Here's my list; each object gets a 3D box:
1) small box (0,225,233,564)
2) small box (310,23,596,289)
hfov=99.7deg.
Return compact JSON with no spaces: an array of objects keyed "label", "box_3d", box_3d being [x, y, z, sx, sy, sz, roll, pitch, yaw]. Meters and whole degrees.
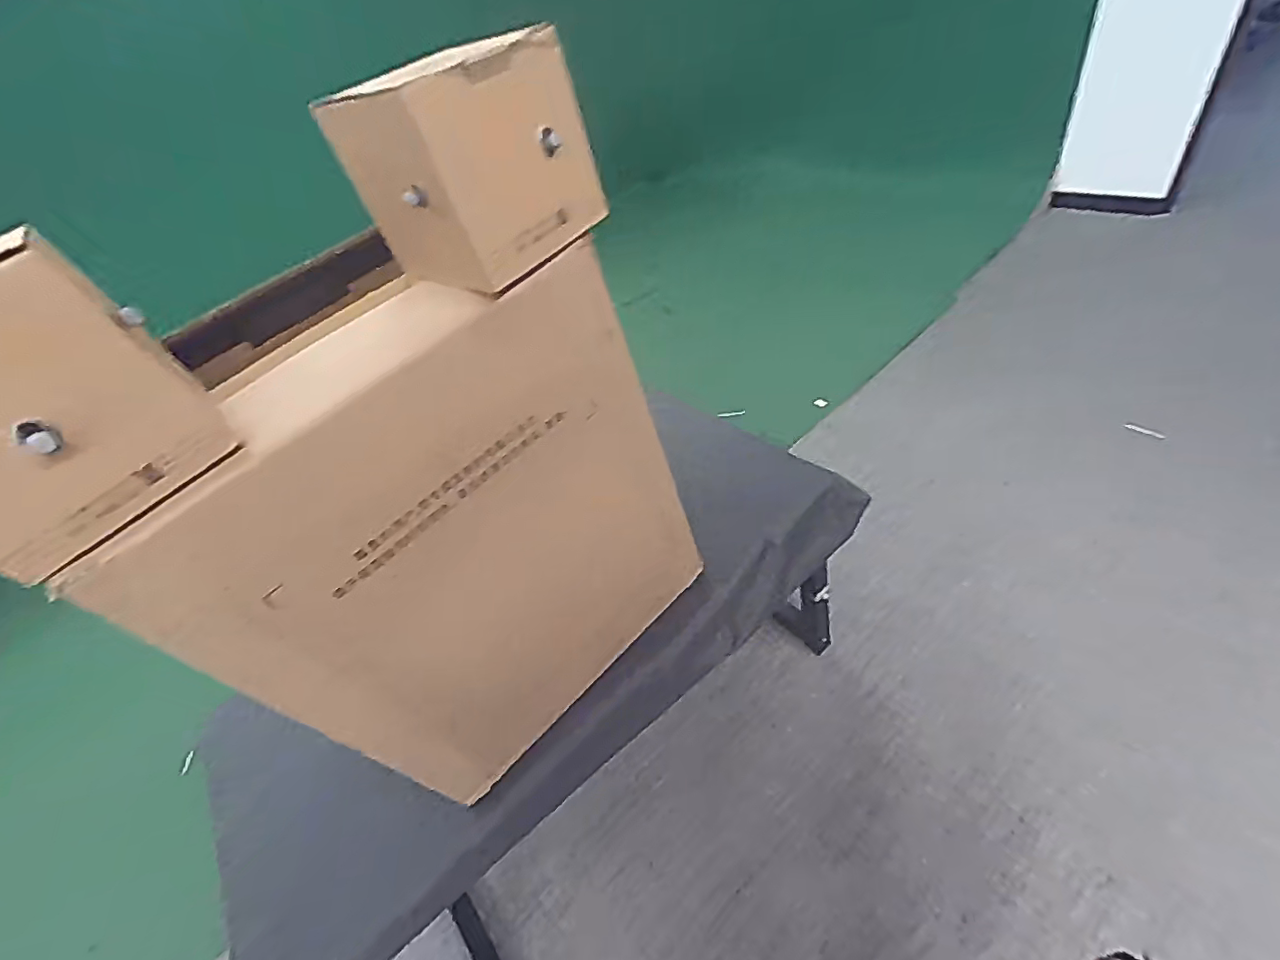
[{"label":"small box","box_3d":[-0.457,-0.062,0.407,0.179,0.176,0.168,28,64,37]},{"label":"small box","box_3d":[-0.170,-0.307,0.532,0.179,0.176,0.168,23,57,37]}]
